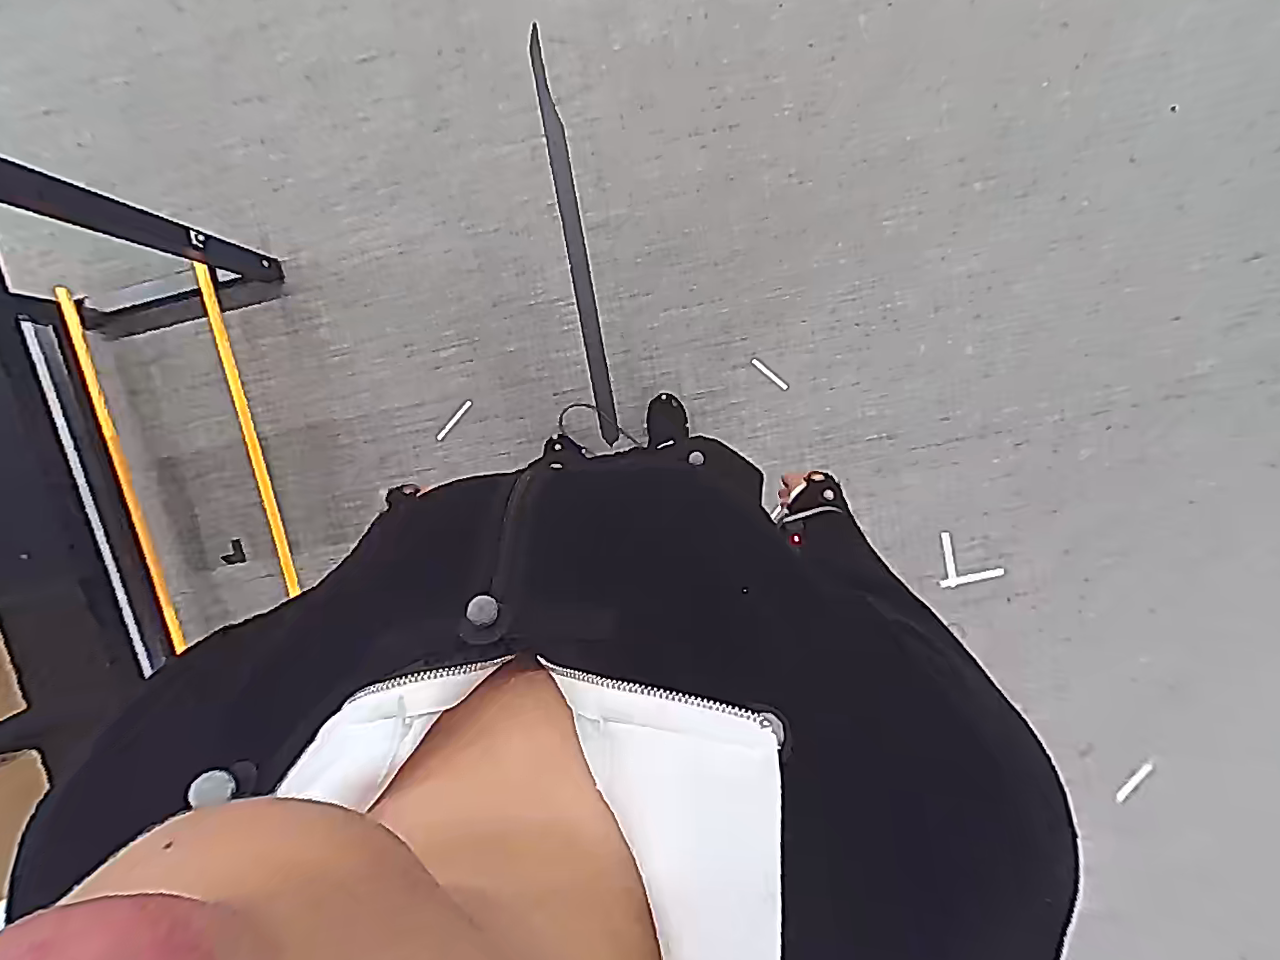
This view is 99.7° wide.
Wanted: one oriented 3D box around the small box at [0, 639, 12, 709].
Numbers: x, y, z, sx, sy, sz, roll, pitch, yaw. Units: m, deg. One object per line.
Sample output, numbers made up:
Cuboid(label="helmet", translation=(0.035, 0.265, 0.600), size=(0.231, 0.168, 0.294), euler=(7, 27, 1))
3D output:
Cuboid(label="small box", translation=(-1.032, 0.283, 0.735), size=(0.179, 0.176, 0.168), euler=(-10, 98, 2))

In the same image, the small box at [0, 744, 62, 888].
Cuboid(label="small box", translation=(-0.994, 0.512, 0.765), size=(0.168, 0.176, 0.179), euler=(-11, 97, 3))
